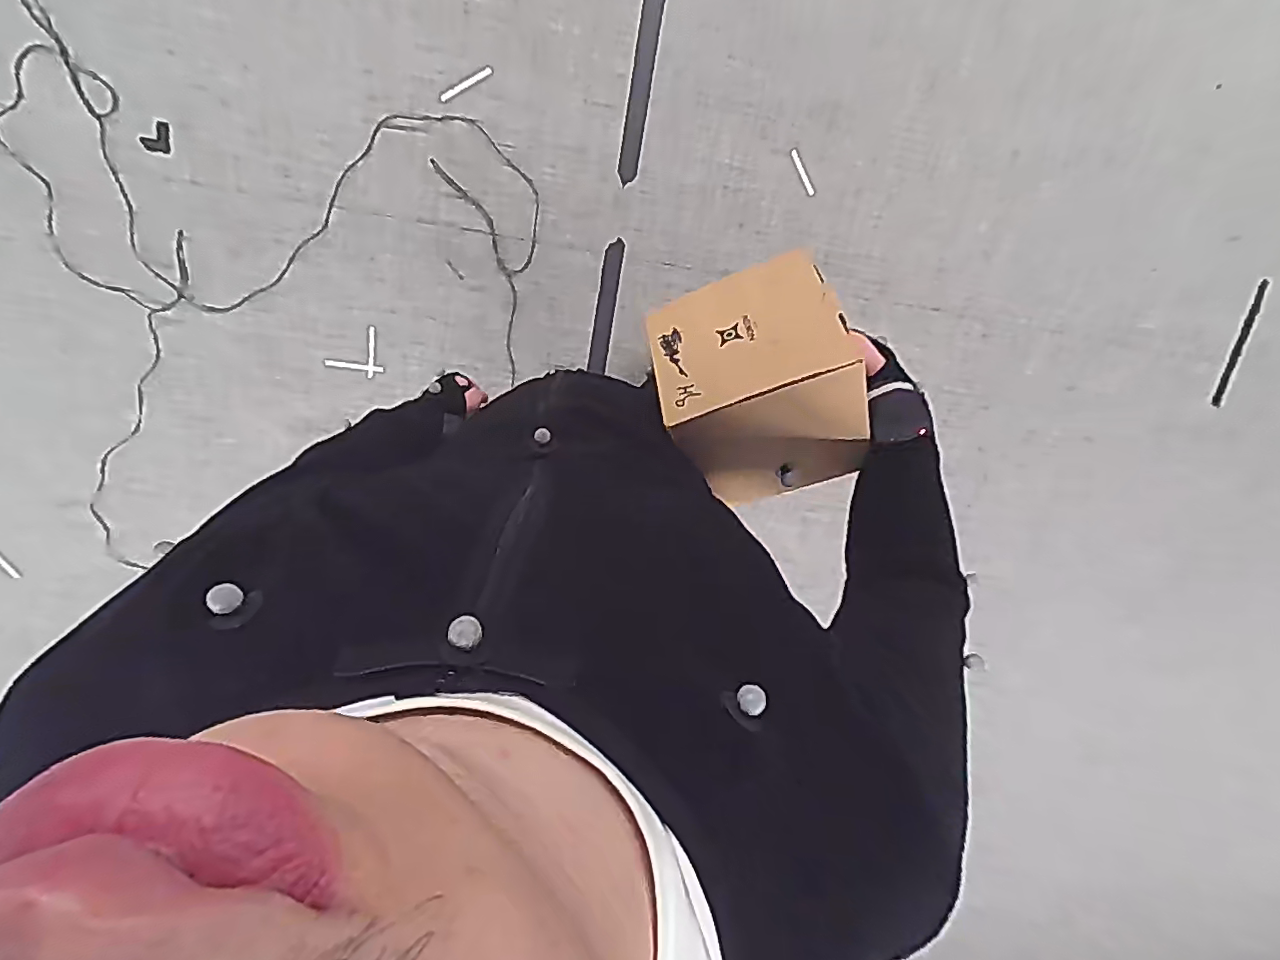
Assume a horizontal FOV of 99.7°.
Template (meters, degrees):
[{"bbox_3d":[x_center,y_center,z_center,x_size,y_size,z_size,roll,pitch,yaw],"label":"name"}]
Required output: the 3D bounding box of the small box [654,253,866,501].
[{"bbox_3d":[0.132,-0.101,0.587,0.179,0.168,0.176,-18,143,14],"label":"small box"}]
